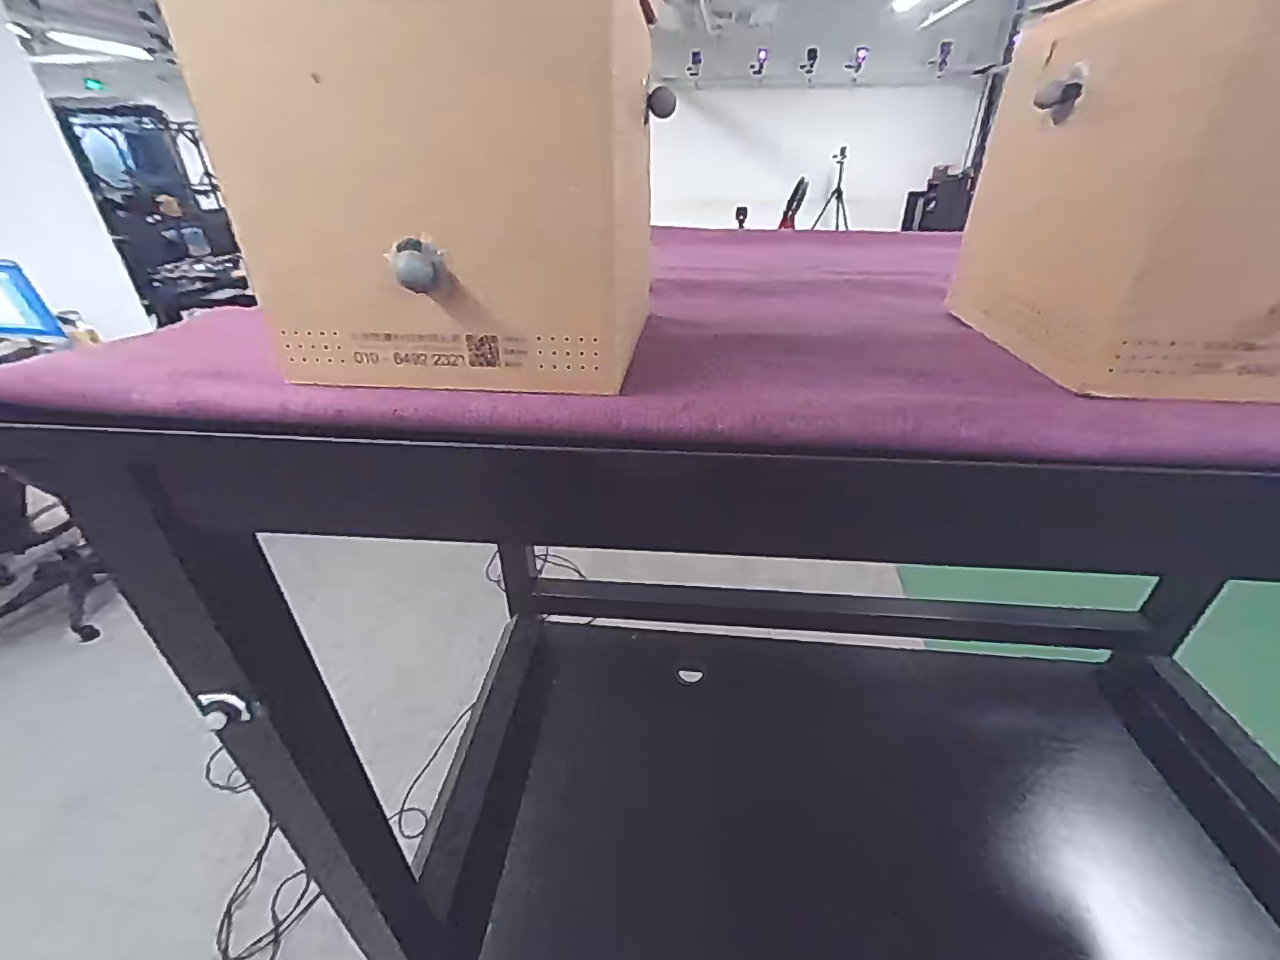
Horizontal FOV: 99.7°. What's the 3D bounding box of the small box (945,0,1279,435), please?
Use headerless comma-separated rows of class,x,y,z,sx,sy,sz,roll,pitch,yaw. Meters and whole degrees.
small box,0.288,-0.134,0.277,0.168,0.176,0.179,3,33,6

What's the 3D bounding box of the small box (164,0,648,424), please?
small box,-0.086,-0.143,0.295,0.168,0.176,0.179,2,31,5
